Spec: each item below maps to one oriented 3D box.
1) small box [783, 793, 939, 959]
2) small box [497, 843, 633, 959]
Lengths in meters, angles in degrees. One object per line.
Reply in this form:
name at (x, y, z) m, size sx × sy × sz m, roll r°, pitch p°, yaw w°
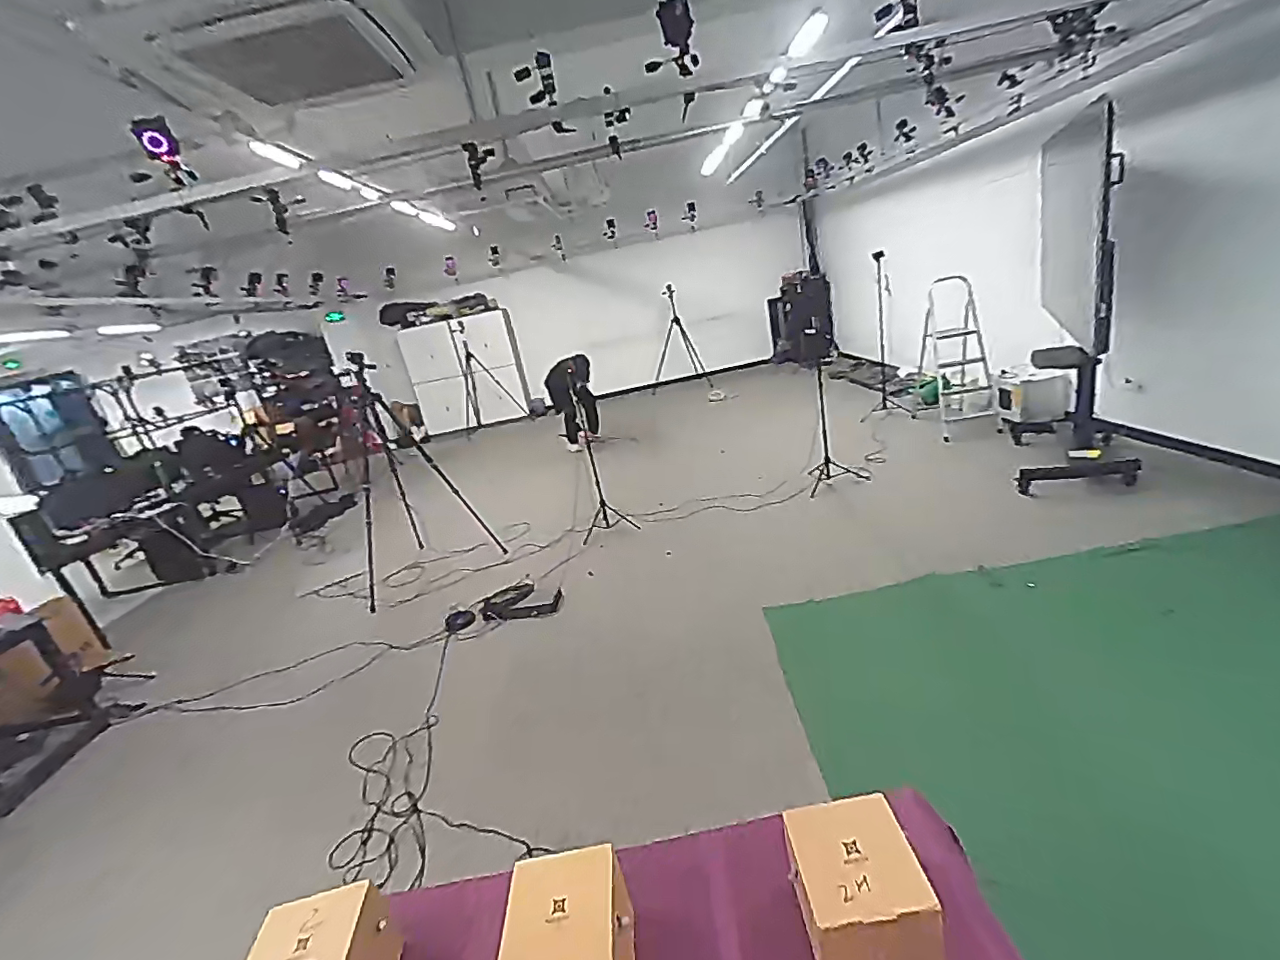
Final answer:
small box at (0.325, 0.620, 0.817) m, size 0.168 × 0.176 × 0.179 m, roll -12°, pitch 20°, yaw 2°
small box at (-0.107, 0.709, 0.829) m, size 0.168 × 0.176 × 0.179 m, roll -11°, pitch 20°, yaw 1°
